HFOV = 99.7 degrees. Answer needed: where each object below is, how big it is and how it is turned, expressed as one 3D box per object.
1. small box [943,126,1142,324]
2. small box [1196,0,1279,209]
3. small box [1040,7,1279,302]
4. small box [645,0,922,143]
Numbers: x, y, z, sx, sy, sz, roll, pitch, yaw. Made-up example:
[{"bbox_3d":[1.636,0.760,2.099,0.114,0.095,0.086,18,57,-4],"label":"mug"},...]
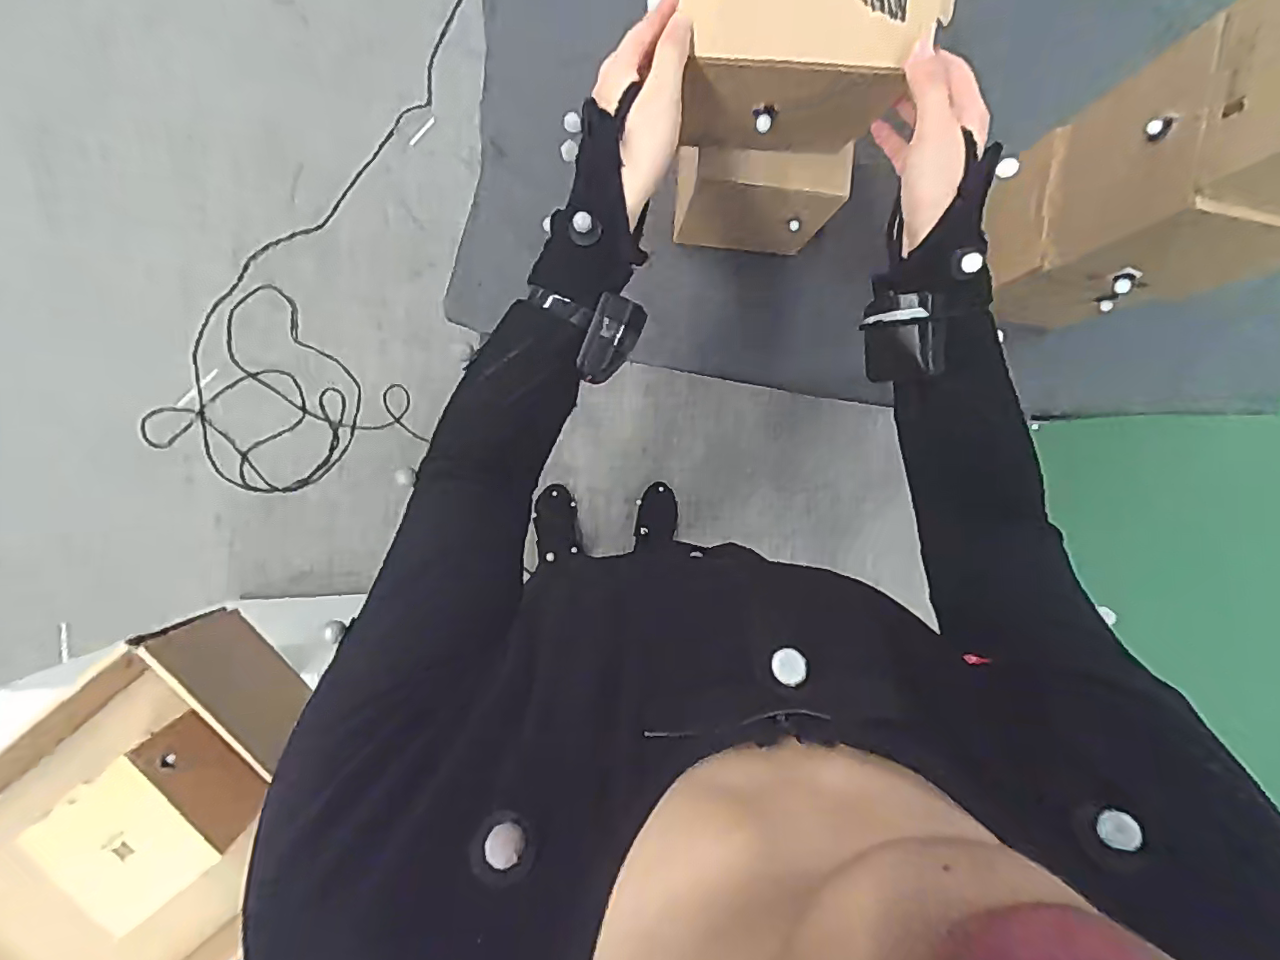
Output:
[{"bbox_3d":[0.538,-0.312,0.702,0.179,0.176,0.168,8,90,-5],"label":"small box"},{"bbox_3d":[0.562,-0.300,0.378,0.179,0.176,0.168,12,90,-3],"label":"small box"},{"bbox_3d":[0.548,-0.302,0.541,0.168,0.176,0.179,10,91,-3],"label":"small box"},{"bbox_3d":[0.097,-0.376,0.411,0.179,0.176,0.168,2,106,-1],"label":"small box"}]
